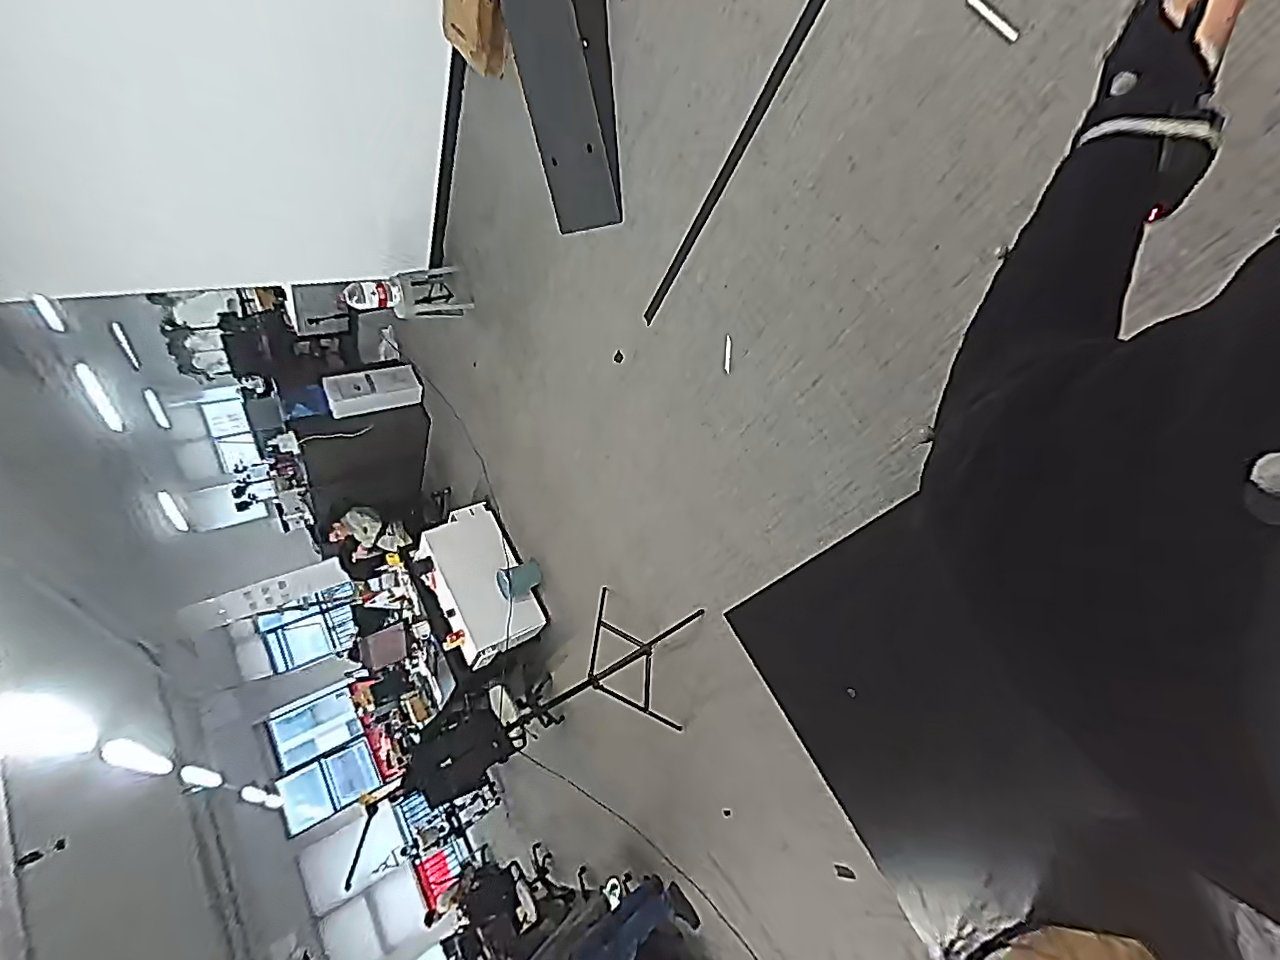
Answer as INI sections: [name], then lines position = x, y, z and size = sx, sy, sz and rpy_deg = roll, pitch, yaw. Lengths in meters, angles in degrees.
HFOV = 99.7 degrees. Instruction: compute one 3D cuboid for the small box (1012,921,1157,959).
[small box]
position = 0.635, 0.755, 0.742
size = 0.168, 0.176, 0.179
rpy_deg = 59, 144, 16
